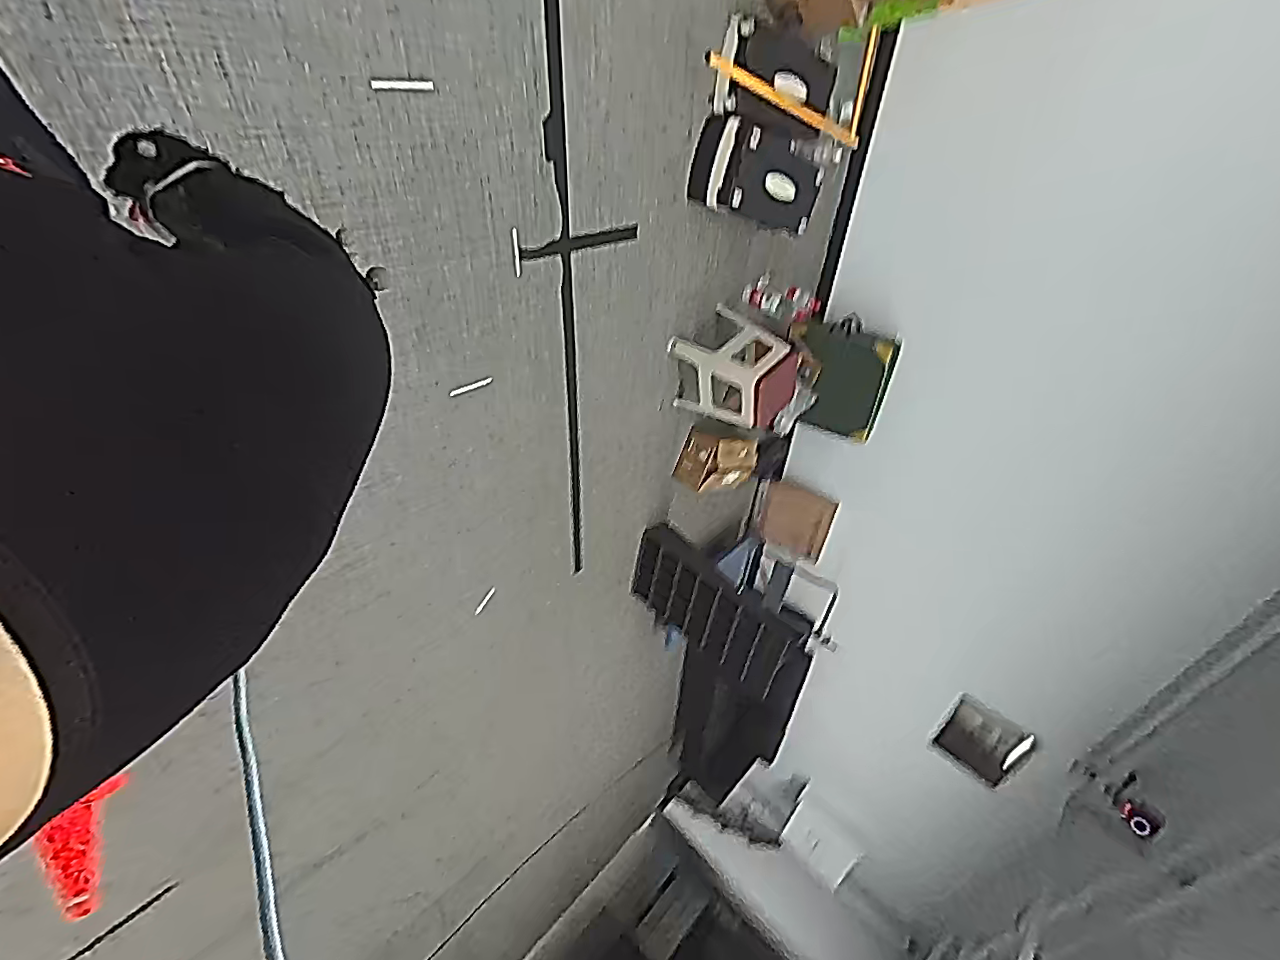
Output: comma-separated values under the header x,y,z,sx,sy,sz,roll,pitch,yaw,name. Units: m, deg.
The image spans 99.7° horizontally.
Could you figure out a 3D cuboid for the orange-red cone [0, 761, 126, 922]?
x,y,z,sx,sy,sz,roll,pitch,yaw,name
-1.396,0.923,1.338,0.199,0.360,0.198,-36,143,-33,orange-red cone
